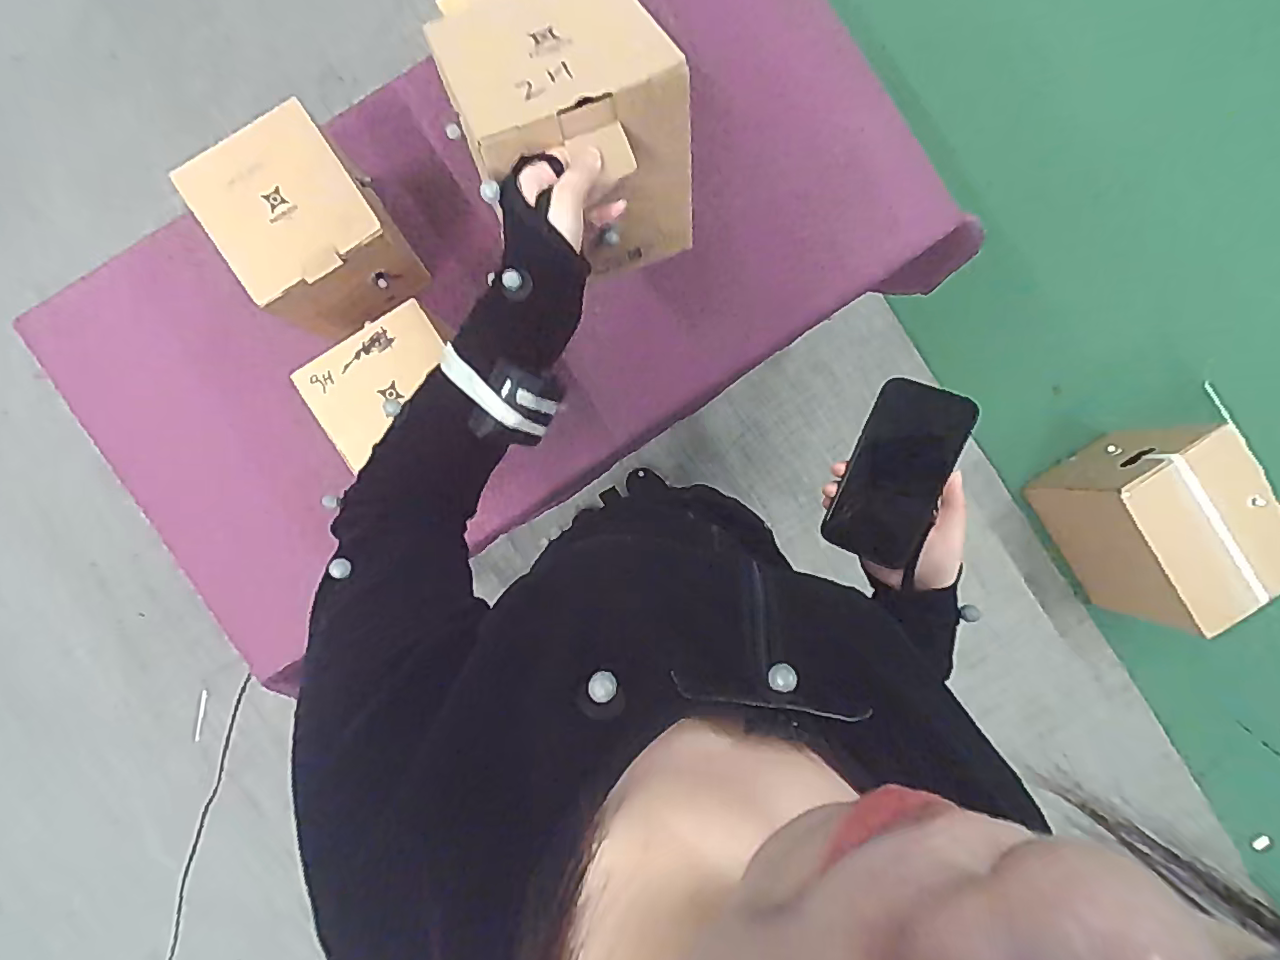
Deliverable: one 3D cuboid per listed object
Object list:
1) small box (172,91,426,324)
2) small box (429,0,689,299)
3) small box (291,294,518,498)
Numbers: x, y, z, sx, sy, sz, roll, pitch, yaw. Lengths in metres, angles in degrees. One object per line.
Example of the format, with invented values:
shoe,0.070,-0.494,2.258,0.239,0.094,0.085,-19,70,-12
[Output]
small box,-0.401,-0.315,0.674,0.168,0.176,0.179,-33,92,-2
small box,-0.063,-0.303,0.491,0.168,0.176,0.179,-22,65,-3
small box,-0.275,-0.097,0.681,0.168,0.176,0.179,-33,92,-2
